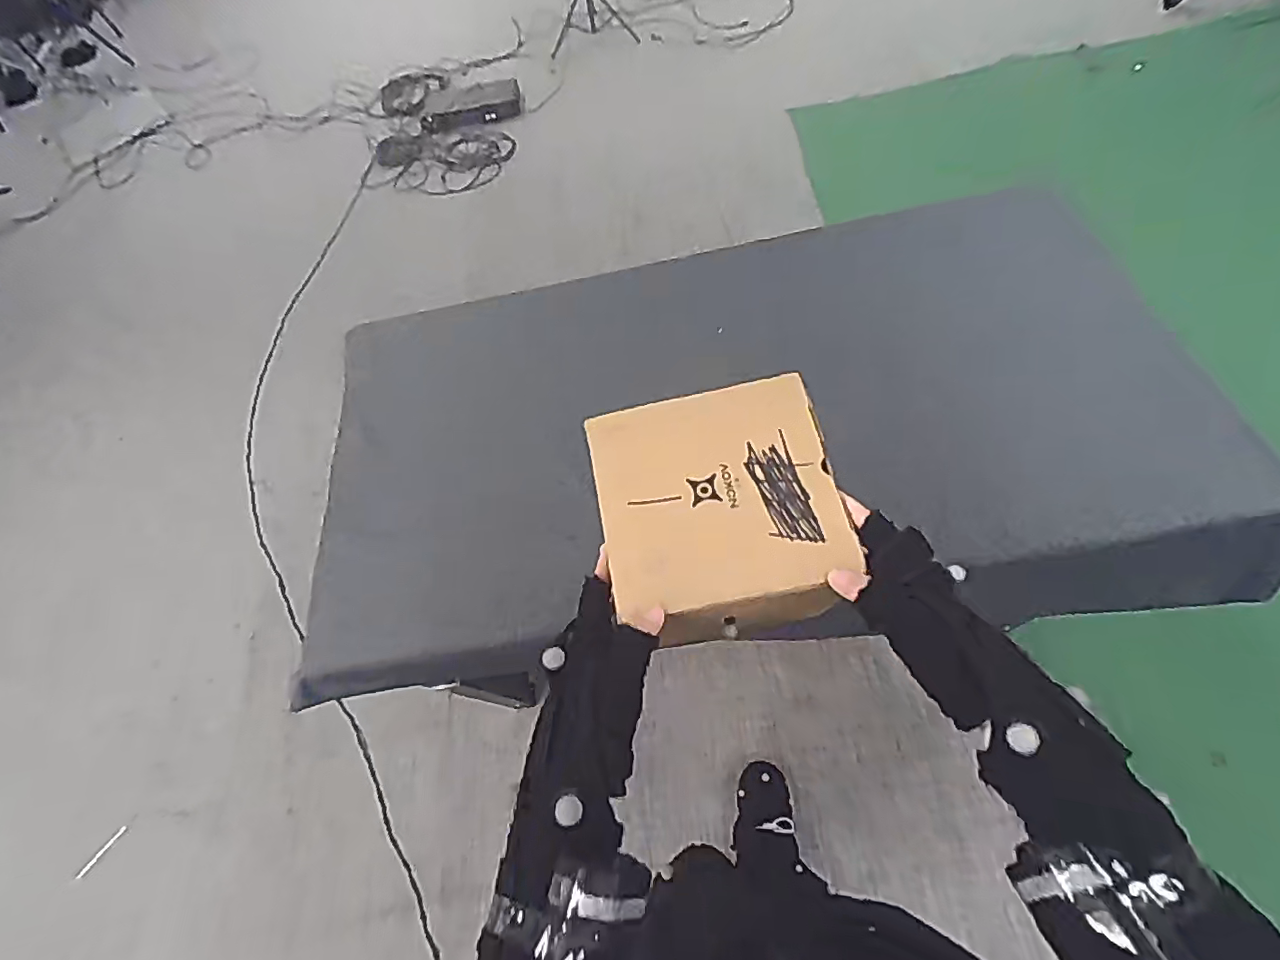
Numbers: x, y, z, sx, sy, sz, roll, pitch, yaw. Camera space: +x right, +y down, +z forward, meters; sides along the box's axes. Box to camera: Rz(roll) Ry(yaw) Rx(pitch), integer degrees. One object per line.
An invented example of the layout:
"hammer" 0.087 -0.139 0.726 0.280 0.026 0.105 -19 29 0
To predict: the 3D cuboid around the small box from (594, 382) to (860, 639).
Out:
"small box" 0.066 0.039 0.488 0.179 0.176 0.168 -12 66 2
